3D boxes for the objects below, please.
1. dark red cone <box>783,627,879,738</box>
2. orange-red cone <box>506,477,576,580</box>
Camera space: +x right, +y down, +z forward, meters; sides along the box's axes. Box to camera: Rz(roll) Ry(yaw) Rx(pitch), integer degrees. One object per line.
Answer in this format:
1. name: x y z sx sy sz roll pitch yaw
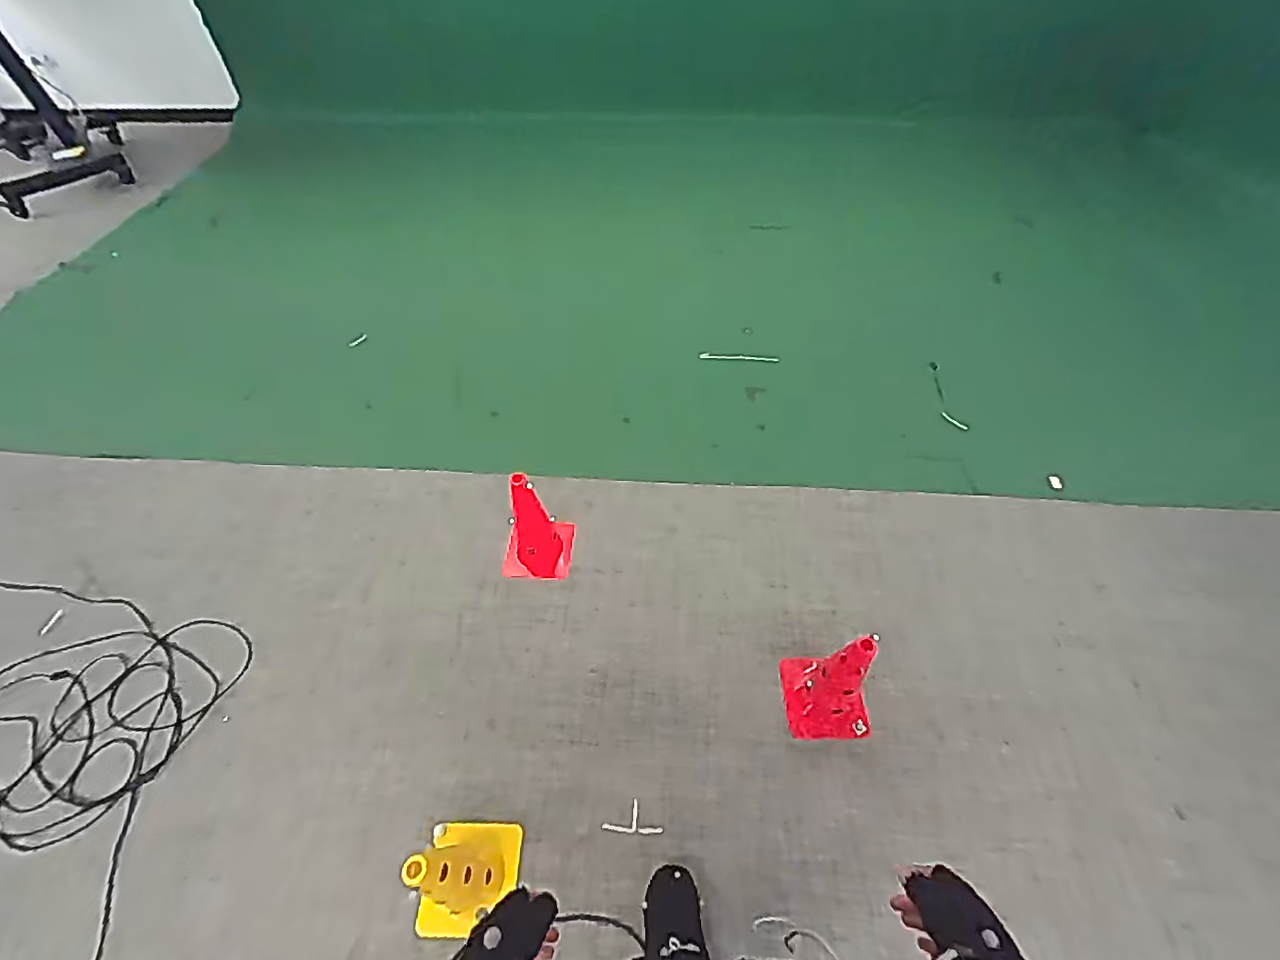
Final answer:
1. dark red cone: 0.467 0.434 1.230 0.202 0.394 0.201 -2 51 0
2. orange-red cone: -0.310 0.116 1.533 0.198 0.360 0.199 2 53 4
